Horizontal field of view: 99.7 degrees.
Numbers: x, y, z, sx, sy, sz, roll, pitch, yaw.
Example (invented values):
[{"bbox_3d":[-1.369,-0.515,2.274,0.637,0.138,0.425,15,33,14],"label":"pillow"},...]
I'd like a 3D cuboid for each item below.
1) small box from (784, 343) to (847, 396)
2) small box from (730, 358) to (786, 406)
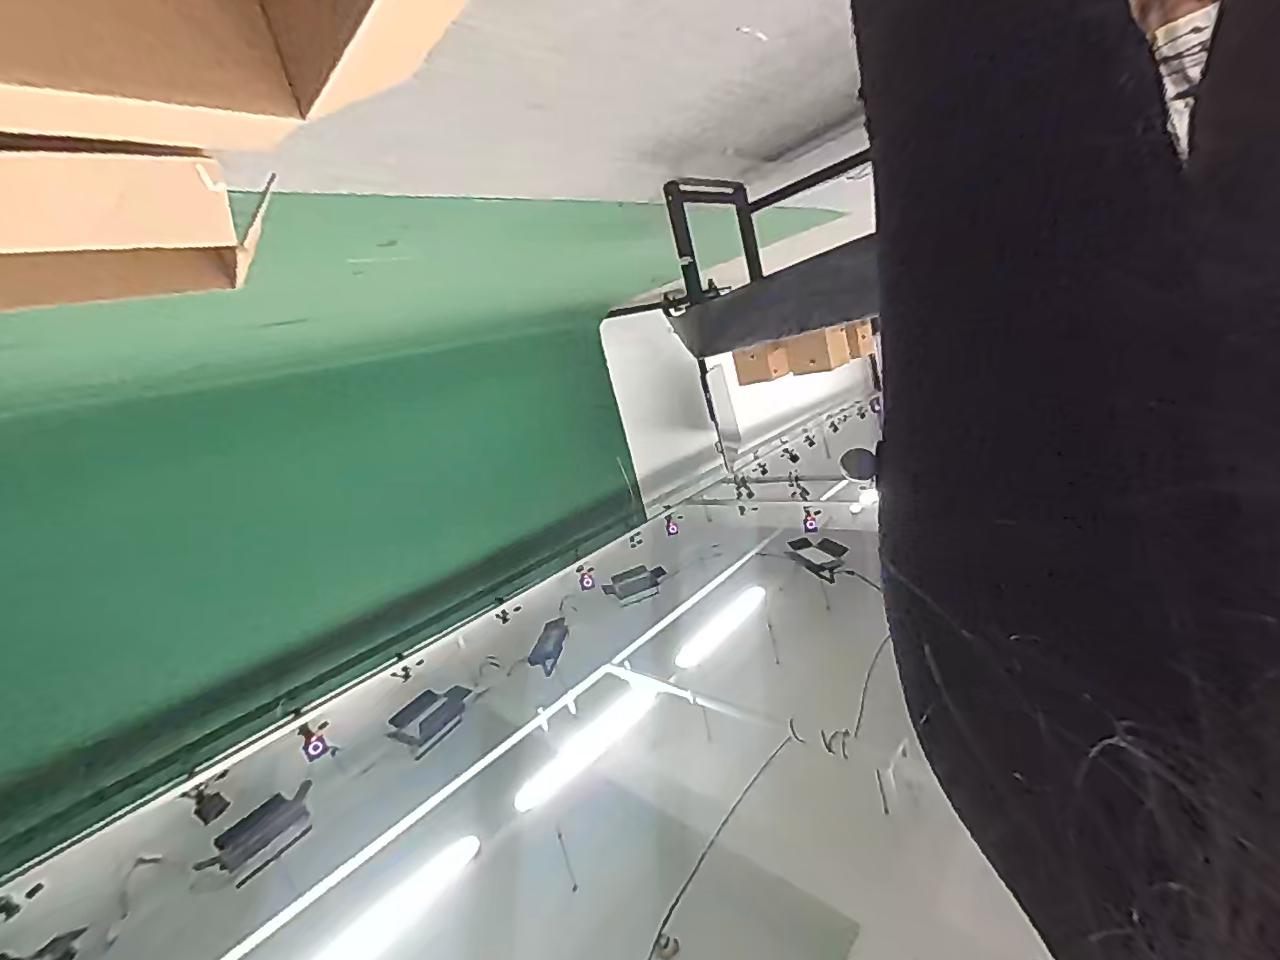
[{"bbox_3d":[0.715,-0.455,2.205,0.168,0.176,0.179,-23,-167,-40],"label":"small box"},{"bbox_3d":[0.519,-0.435,2.378,0.168,0.176,0.179,-6,-167,43],"label":"small box"}]
